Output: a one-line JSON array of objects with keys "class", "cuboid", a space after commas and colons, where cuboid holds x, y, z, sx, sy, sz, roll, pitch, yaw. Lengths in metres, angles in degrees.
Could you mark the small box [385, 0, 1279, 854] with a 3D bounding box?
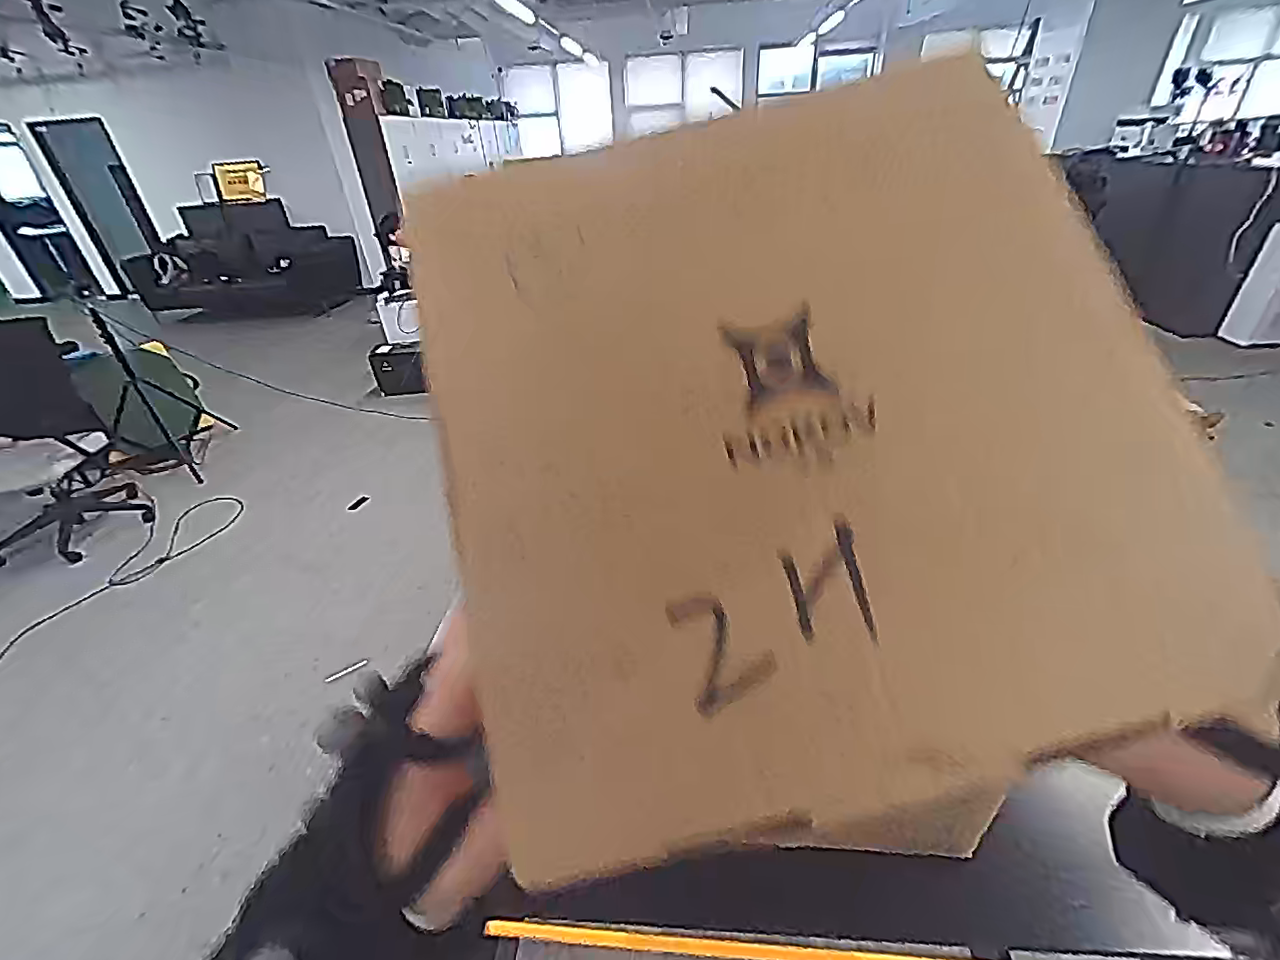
[{"class": "small box", "cuboid": [0.036, -0.011, 0.199, 0.168, 0.176, 0.179, -14, 77, 1]}]
